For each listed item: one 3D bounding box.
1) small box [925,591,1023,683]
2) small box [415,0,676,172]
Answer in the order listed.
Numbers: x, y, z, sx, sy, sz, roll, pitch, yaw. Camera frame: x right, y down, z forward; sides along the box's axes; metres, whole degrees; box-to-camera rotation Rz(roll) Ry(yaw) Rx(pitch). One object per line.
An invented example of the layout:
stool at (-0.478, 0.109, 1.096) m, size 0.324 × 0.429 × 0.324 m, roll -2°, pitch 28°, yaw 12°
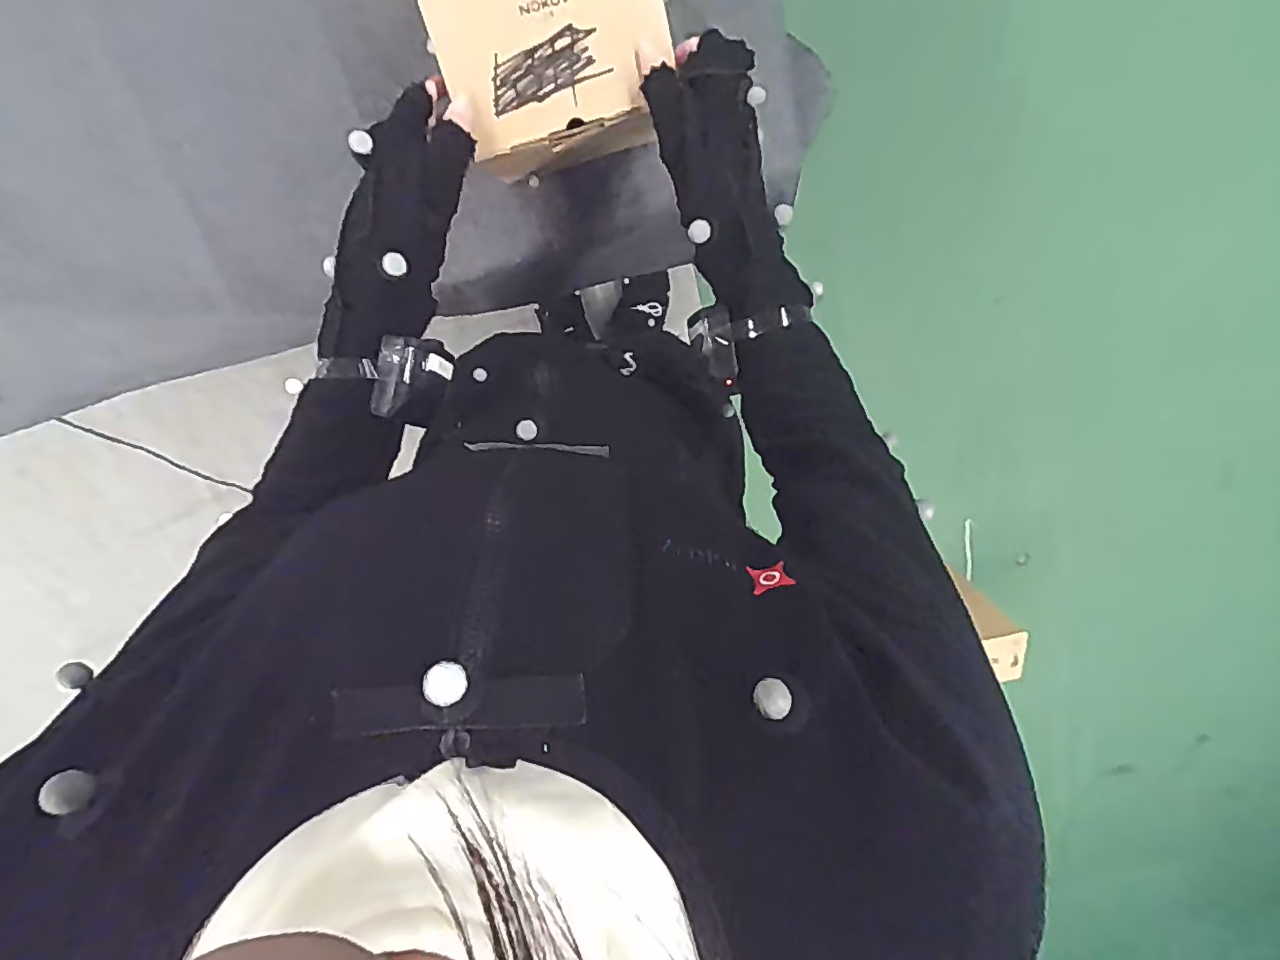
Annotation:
small box at (0.919, 0.433, 1.513) m, size 0.179 × 0.176 × 0.168 m, roll -10°, pitch 116°, yaw 0°
small box at (-0.075, -0.368, 0.438) m, size 0.168 × 0.176 × 0.179 m, roll -15°, pitch 113°, yaw 2°
